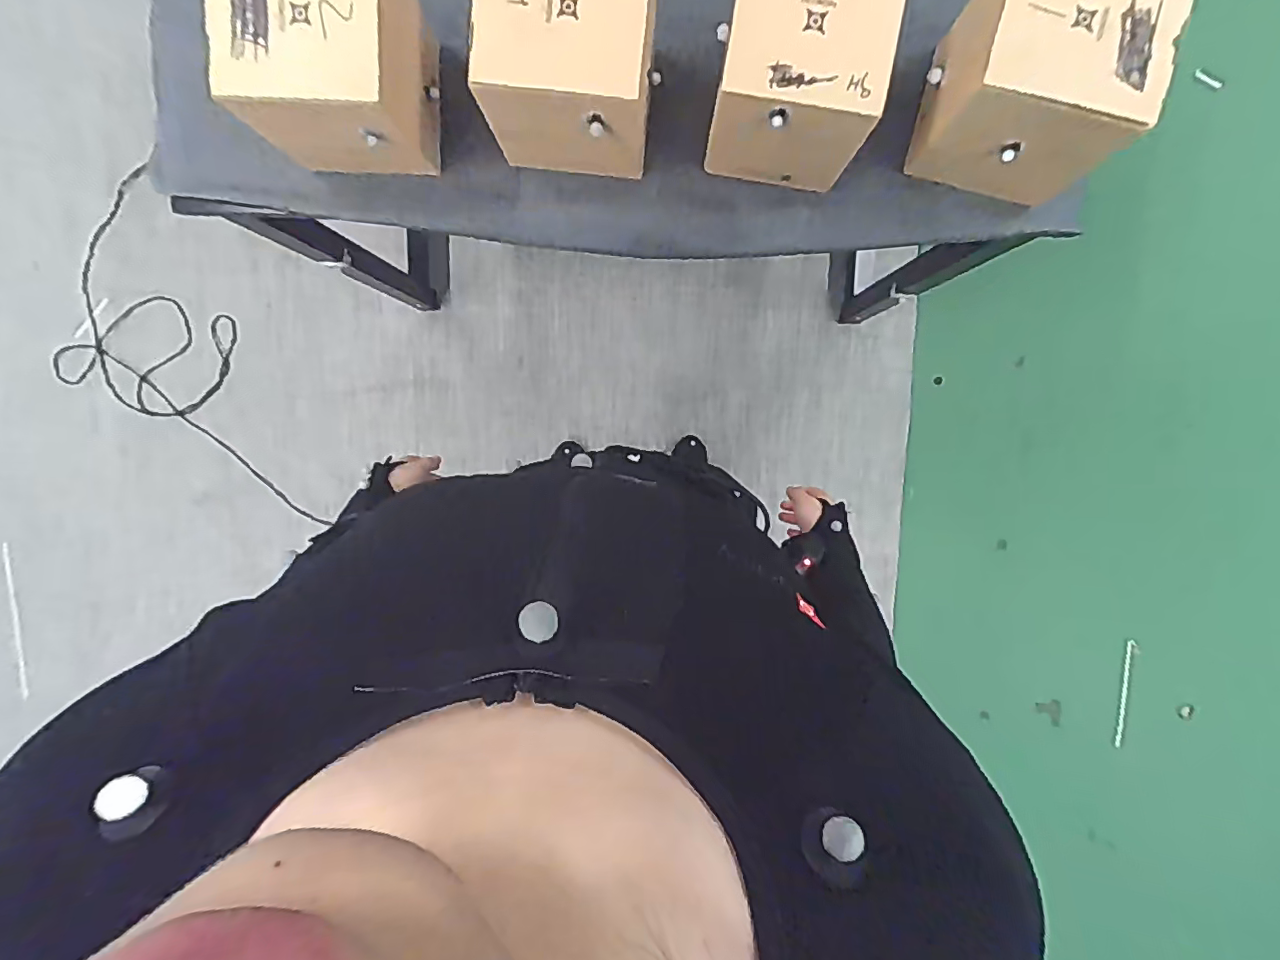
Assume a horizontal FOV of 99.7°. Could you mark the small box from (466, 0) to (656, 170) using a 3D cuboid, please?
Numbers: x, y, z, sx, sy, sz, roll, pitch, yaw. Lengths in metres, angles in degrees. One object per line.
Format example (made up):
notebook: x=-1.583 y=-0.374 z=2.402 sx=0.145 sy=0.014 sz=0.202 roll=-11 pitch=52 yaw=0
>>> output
small box: x=-0.077 y=-0.477 z=0.610 sx=0.179 sy=0.176 sz=0.168 roll=7 pitch=95 yaw=2

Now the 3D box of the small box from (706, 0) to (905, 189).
small box: x=0.174 y=-0.466 z=0.606 sx=0.168 sy=0.176 sz=0.179 roll=11 pitch=94 yaw=0

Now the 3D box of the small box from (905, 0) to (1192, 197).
small box: x=0.434 y=-0.444 z=0.599 sx=0.179 sy=0.176 sz=0.168 roll=15 pitch=93 yaw=1
